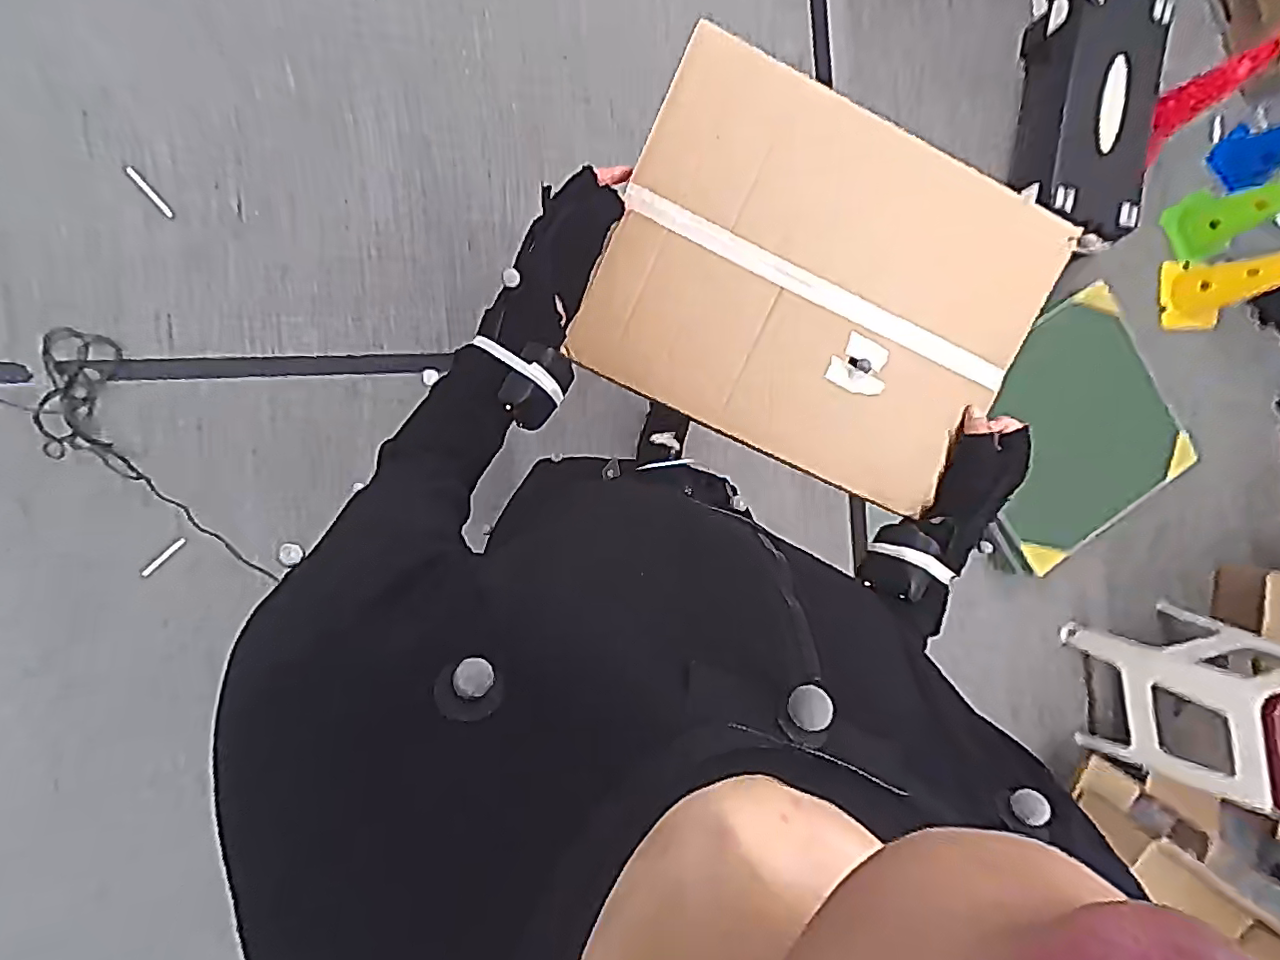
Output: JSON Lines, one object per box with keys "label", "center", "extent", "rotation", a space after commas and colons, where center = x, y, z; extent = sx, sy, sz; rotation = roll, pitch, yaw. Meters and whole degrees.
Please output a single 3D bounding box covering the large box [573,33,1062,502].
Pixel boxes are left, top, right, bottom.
{"label": "large box", "center": [0.163, -0.214, 0.671], "extent": [0.408, 0.320, 0.320], "rotation": [24, 99, -7]}
